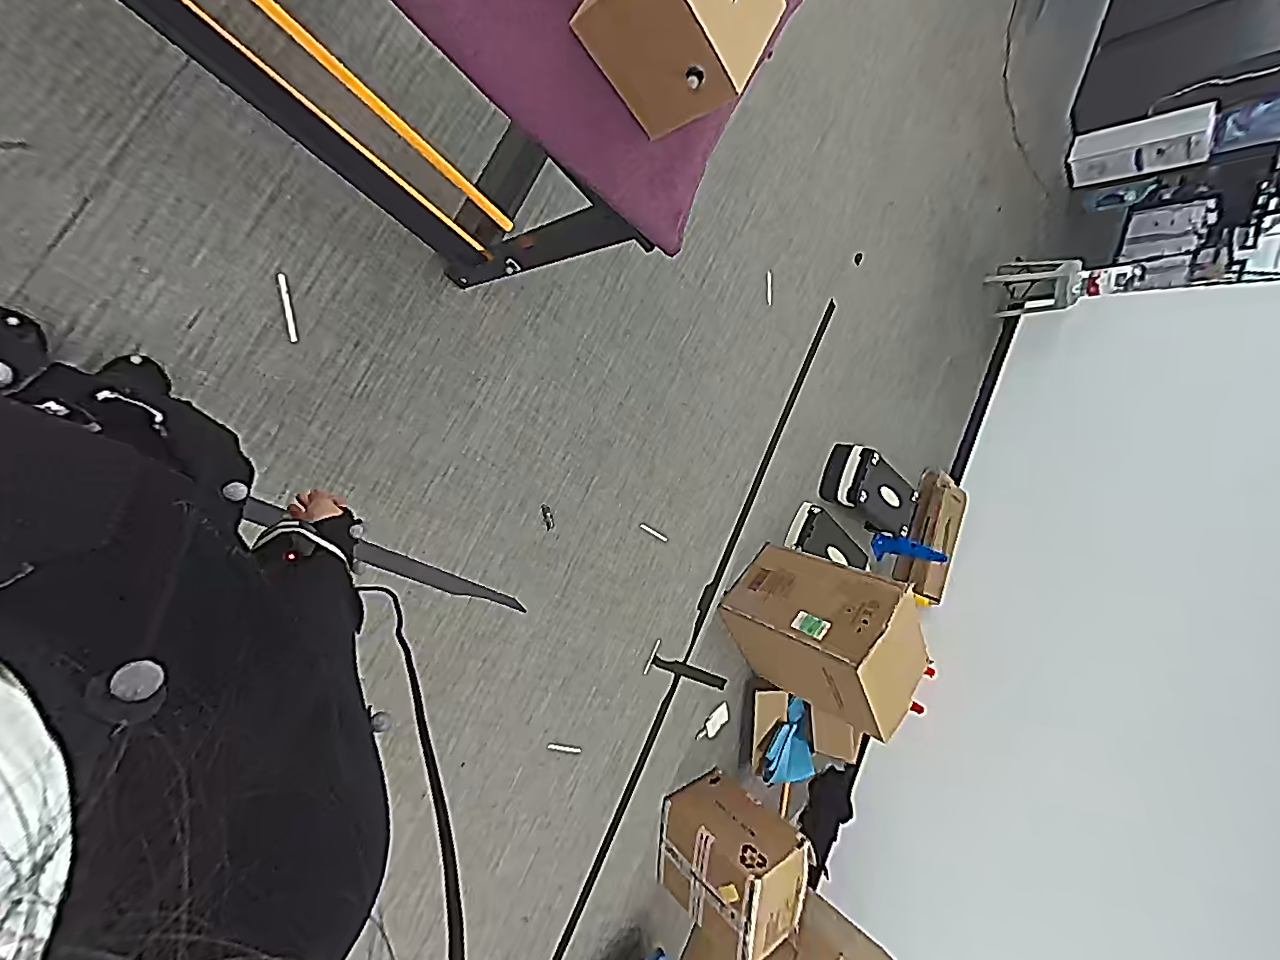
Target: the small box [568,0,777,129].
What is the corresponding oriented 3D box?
[{"bbox_3d":[0.042,-0.600,0.706,0.179,0.176,0.168,36,73,-40],"label":"small box"}]
